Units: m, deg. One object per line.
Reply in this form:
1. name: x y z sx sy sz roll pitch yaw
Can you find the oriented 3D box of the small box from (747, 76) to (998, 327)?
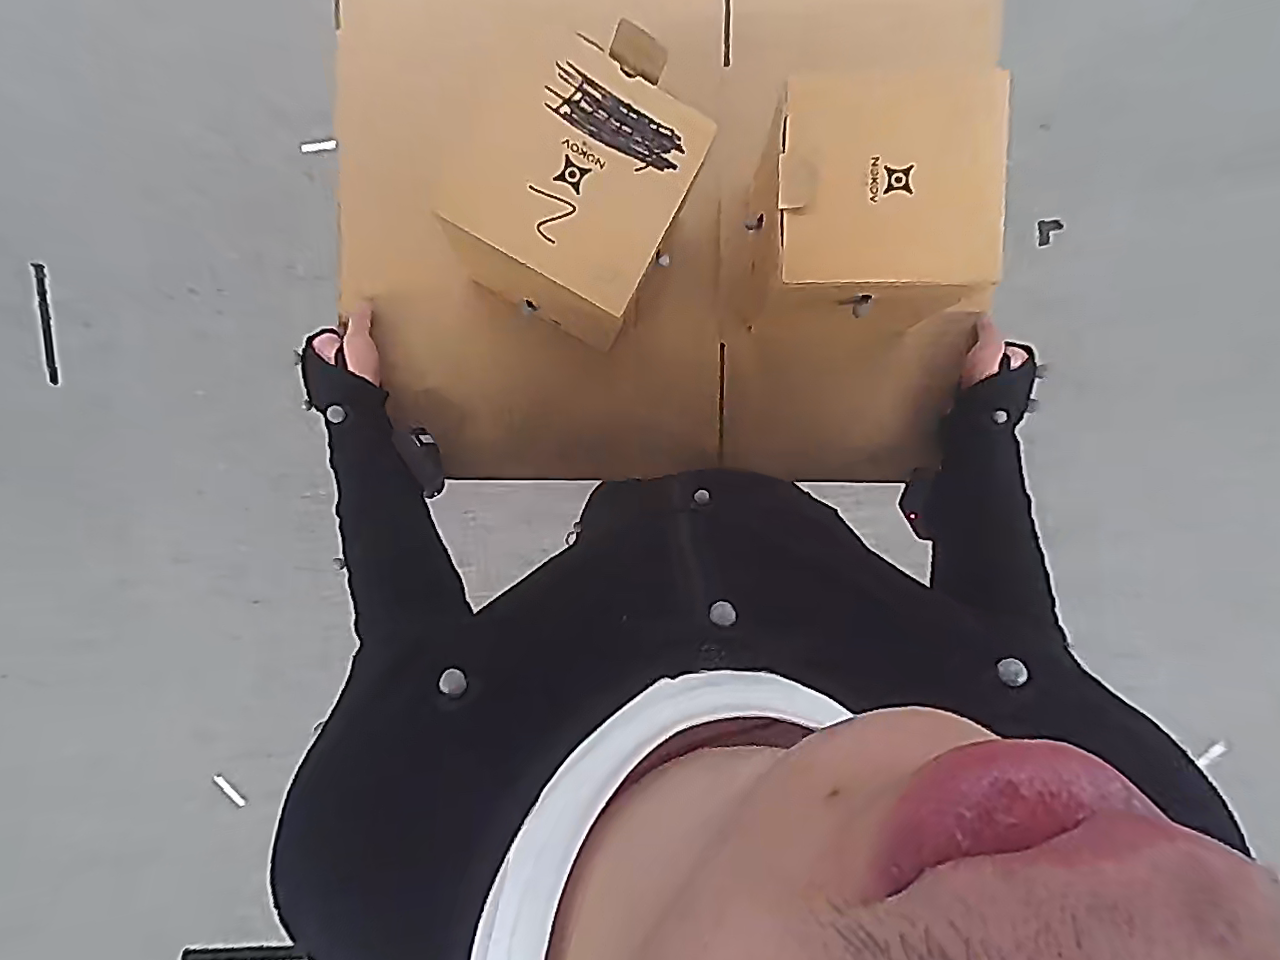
1. small box: 0.206 -0.250 0.525 0.179 0.176 0.168 1 93 4
